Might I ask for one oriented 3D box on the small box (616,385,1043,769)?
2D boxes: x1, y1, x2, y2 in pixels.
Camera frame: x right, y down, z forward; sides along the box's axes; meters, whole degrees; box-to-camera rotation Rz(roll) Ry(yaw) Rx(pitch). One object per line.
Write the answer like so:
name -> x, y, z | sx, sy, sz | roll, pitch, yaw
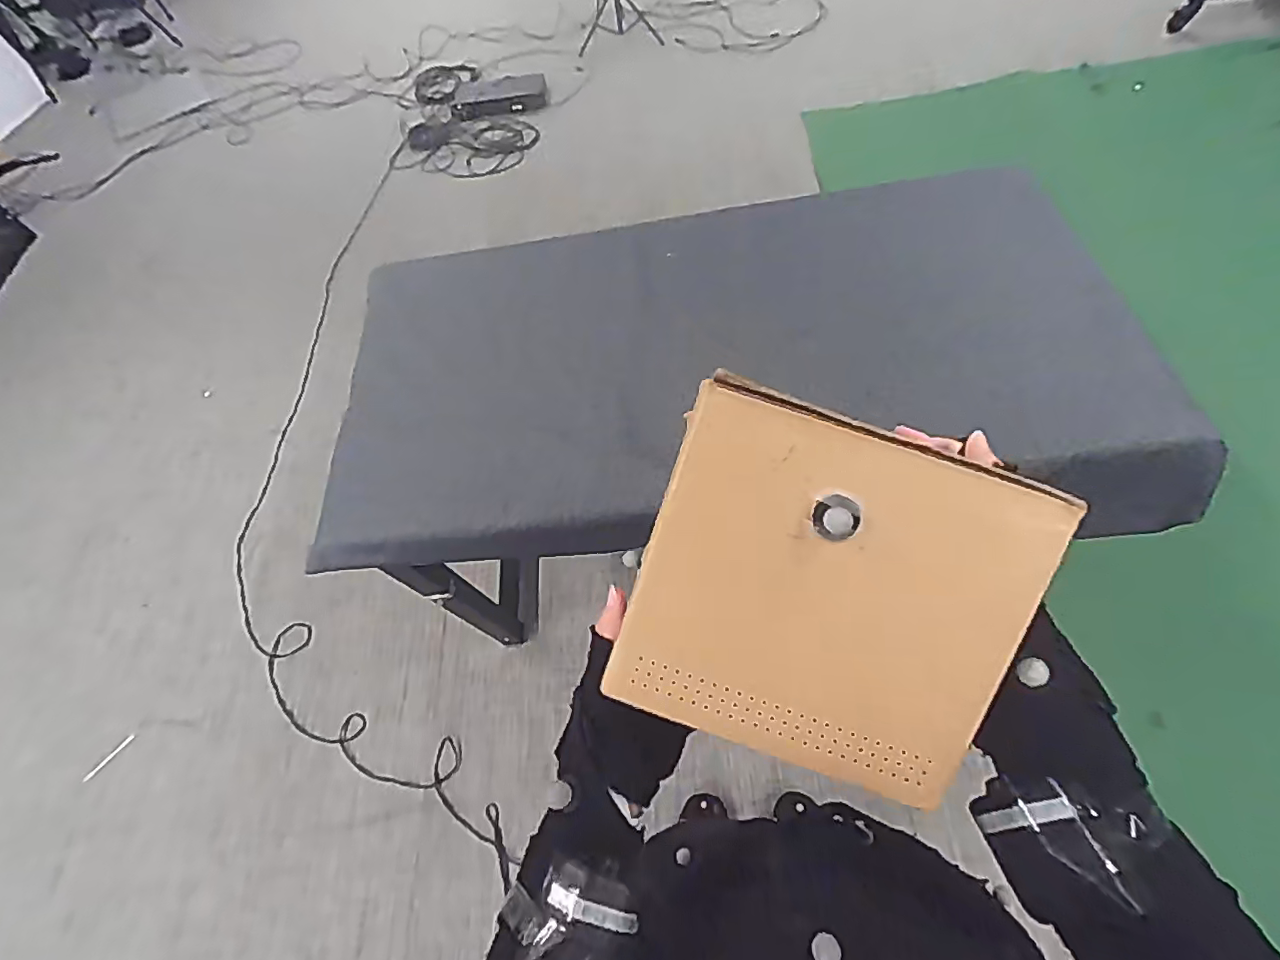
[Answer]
small box -> 0.095, 0.046, 0.350 | 0.179, 0.168, 0.176 | 19, 101, 3
